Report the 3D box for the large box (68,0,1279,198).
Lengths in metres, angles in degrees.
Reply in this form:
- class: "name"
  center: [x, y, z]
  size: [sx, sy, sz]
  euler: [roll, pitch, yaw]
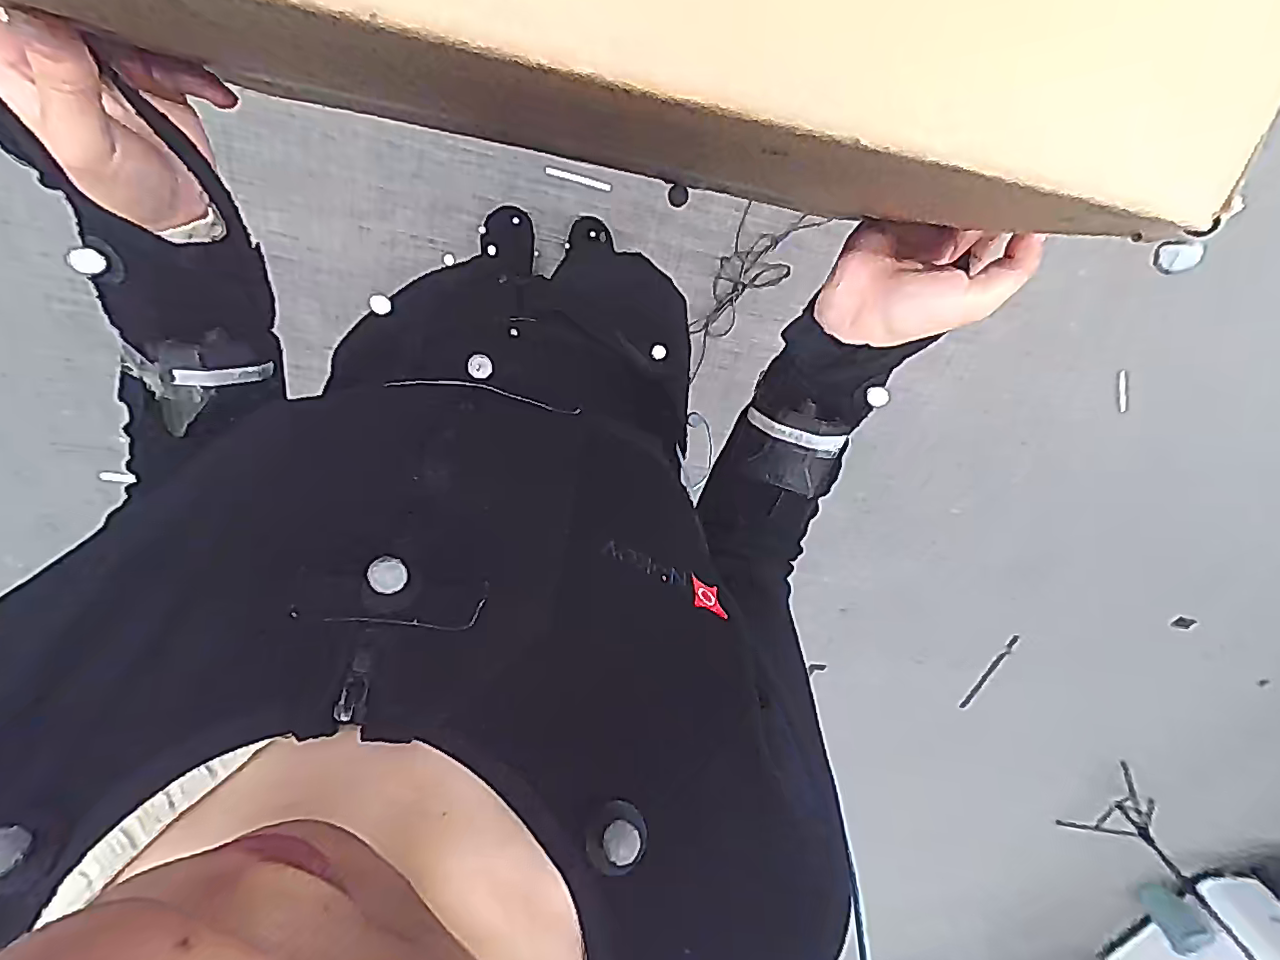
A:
- class: "large box"
  center: [-0.008, -0.312, 0.190]
  size: [0.408, 0.320, 0.320]
  euler: [6, 118, -10]
